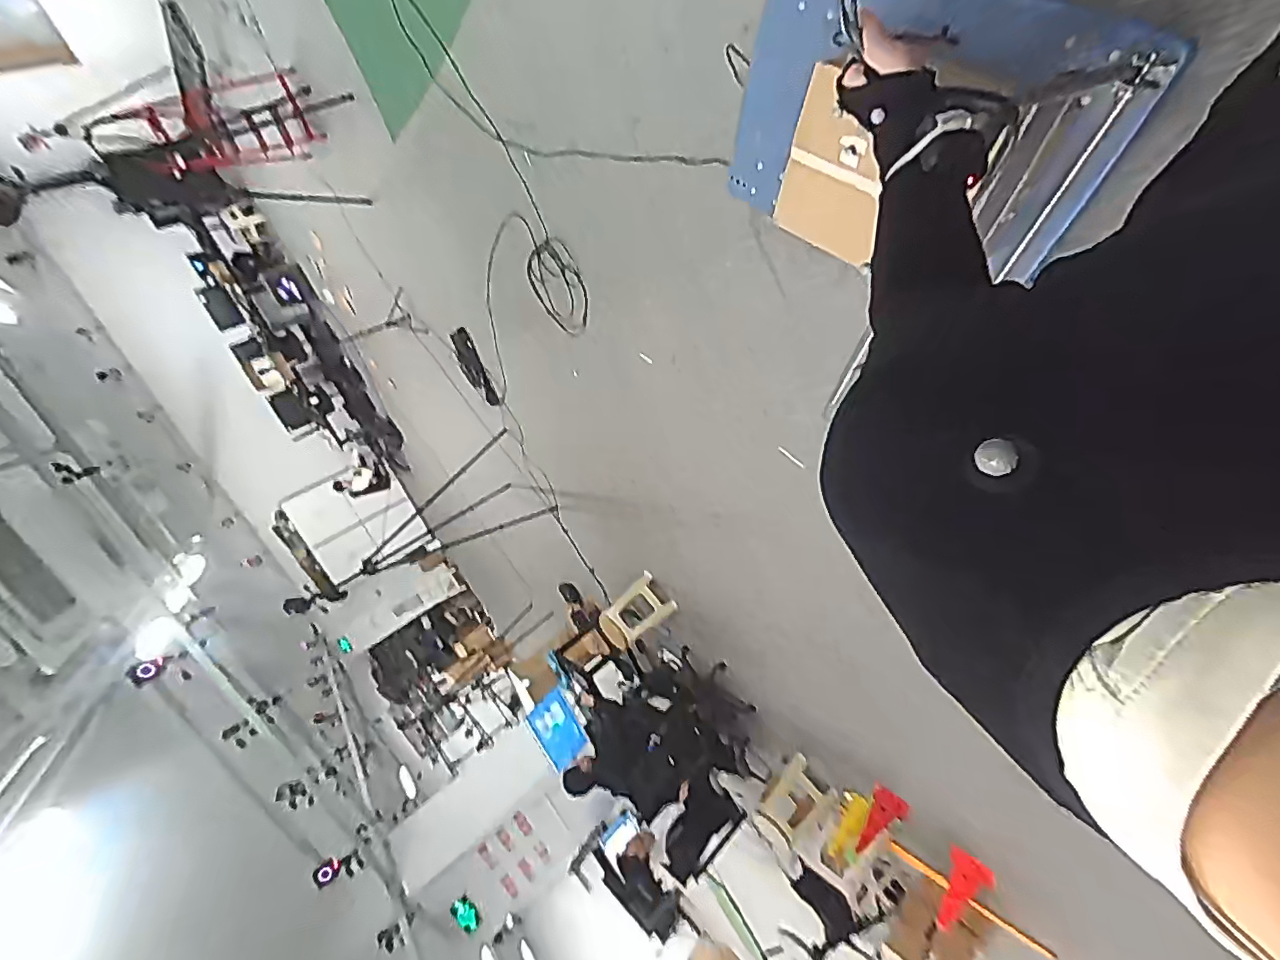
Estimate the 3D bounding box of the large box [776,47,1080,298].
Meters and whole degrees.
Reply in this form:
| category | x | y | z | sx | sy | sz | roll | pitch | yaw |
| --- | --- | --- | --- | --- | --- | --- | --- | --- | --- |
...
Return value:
| category | x | y | z | sx | sy | sz | roll | pitch | yaw |
| --- | --- | --- | --- | --- | --- | --- | --- | --- | --- |
| large box | 0.572 | -0.652 | 1.133 | 0.408 | 0.320 | 0.320 | 42 | 148 | 24 |
